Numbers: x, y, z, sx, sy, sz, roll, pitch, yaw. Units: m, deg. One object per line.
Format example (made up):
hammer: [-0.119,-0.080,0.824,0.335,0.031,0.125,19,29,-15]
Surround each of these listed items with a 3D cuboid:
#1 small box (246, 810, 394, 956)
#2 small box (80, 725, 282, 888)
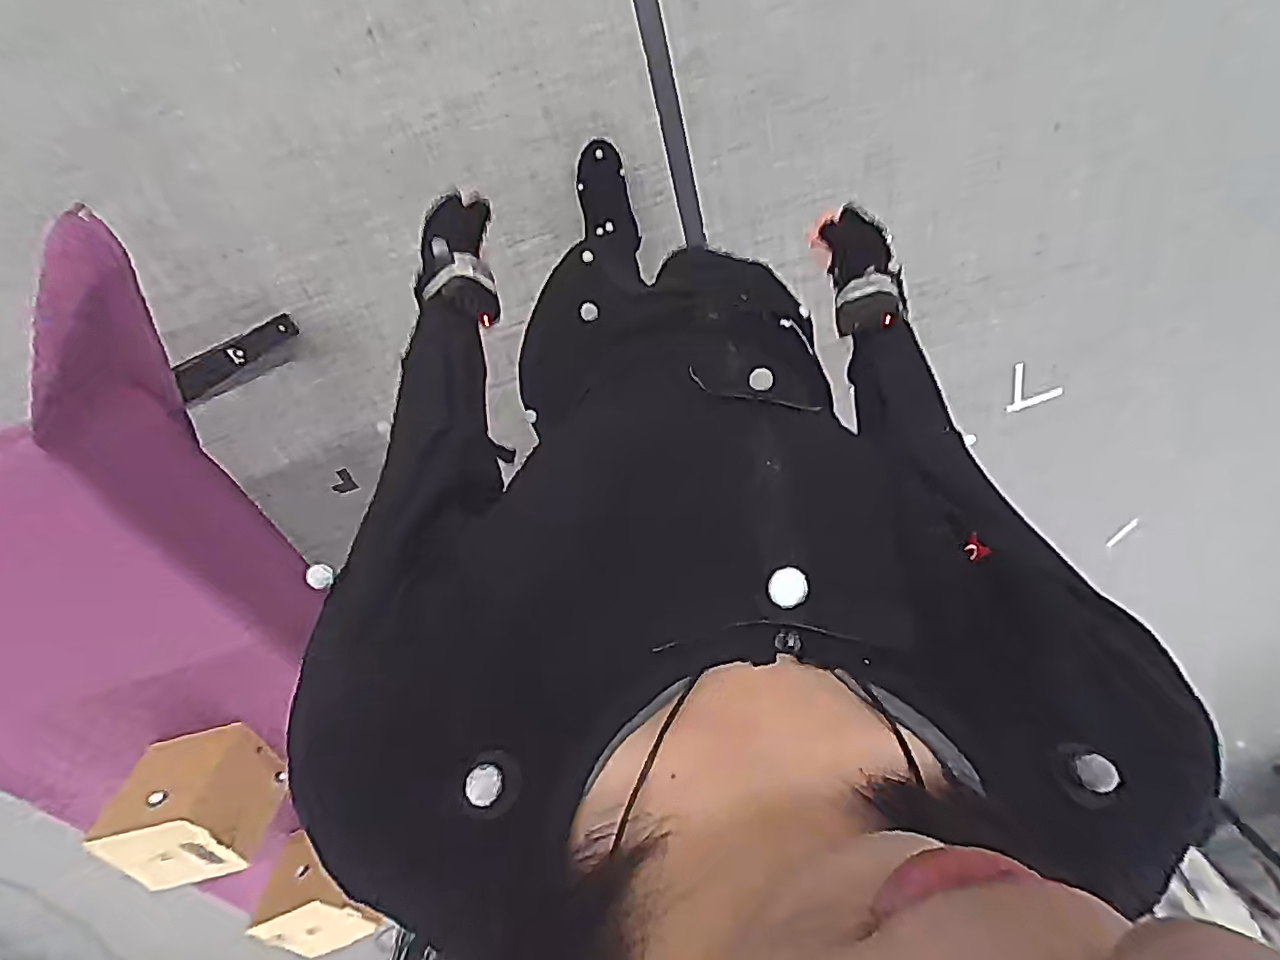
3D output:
small box: [-0.624,0.803,1.087,0.179,0.176,0.168,-29,119,8]
small box: [-0.755,0.549,0.922,0.179,0.176,0.168,-14,121,2]
